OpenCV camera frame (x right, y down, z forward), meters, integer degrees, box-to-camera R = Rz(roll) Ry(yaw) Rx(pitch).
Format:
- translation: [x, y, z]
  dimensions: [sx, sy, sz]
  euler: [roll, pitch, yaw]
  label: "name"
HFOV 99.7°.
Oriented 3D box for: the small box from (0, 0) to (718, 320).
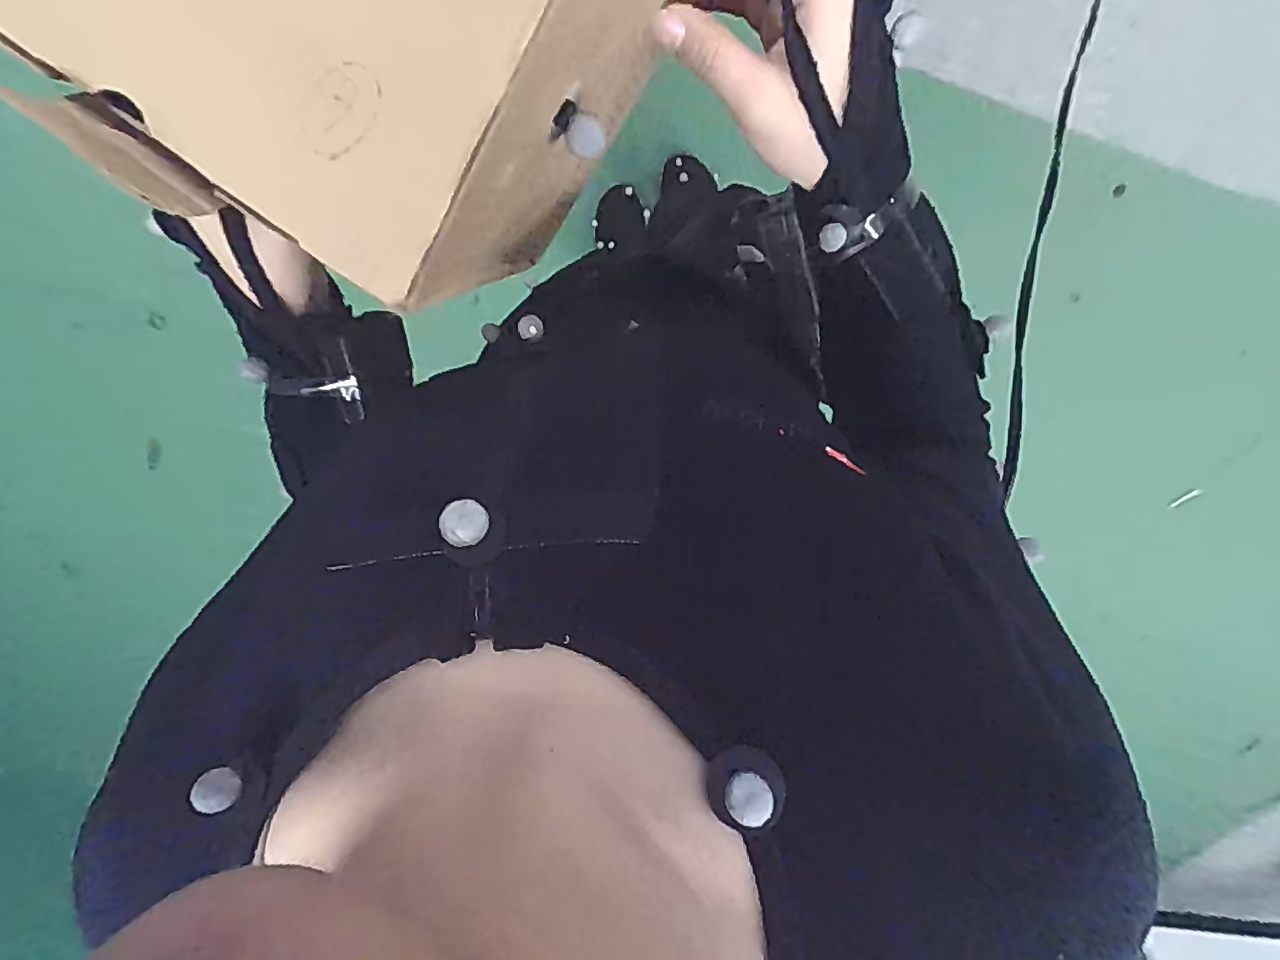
- translation: [-0.074, -0.191, 0.199]
  dimensions: [0.168, 0.176, 0.179]
  euler: [35, 114, -12]
  label: "small box"
